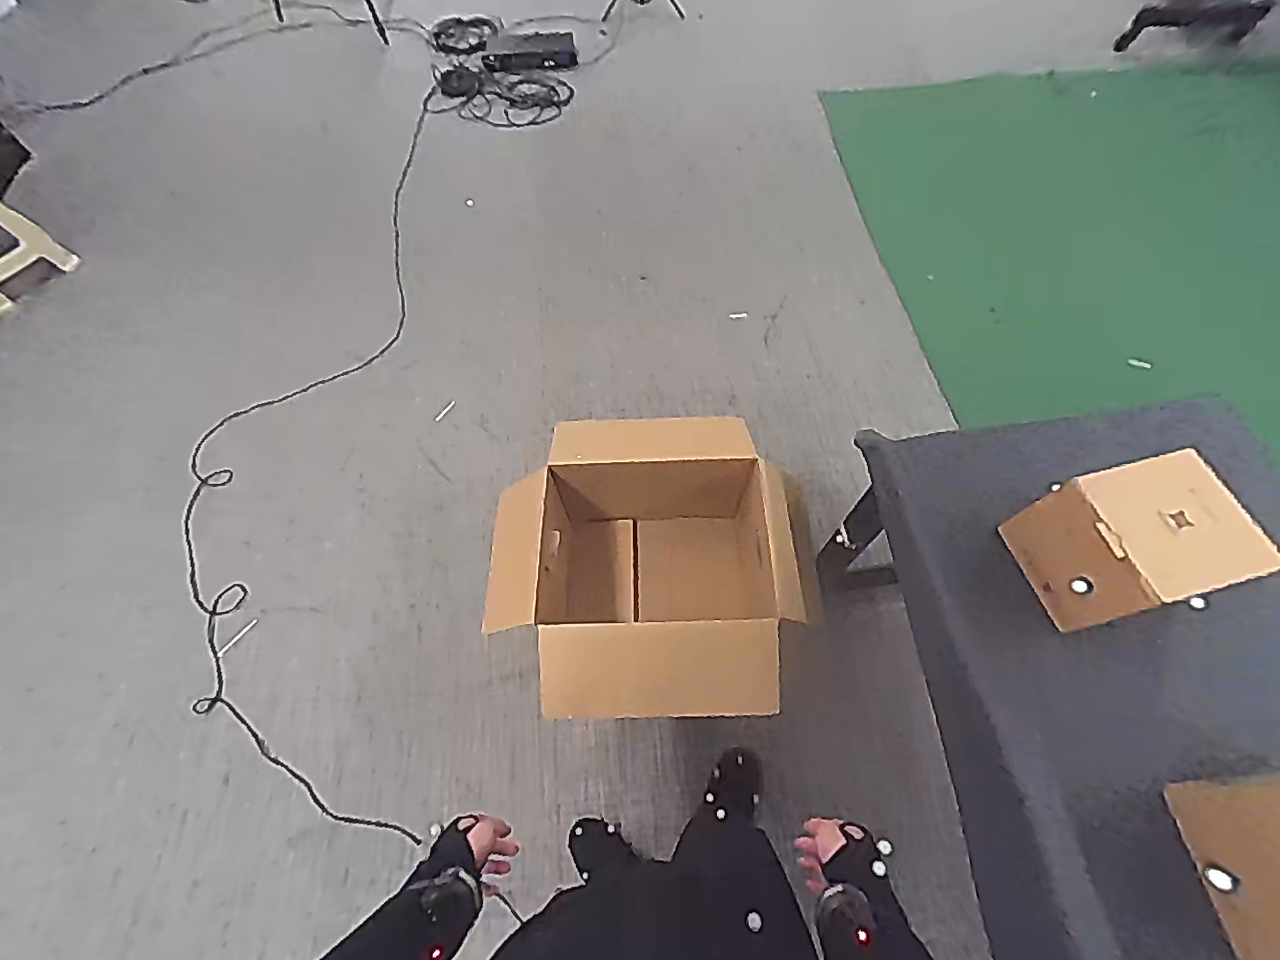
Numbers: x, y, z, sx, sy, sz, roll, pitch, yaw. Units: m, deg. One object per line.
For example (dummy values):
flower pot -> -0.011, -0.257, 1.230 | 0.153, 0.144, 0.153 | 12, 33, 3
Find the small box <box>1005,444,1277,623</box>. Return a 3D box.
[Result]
small box -> 0.636, 0.079, 0.722 | 0.179, 0.176, 0.168 | -14, 65, -8
